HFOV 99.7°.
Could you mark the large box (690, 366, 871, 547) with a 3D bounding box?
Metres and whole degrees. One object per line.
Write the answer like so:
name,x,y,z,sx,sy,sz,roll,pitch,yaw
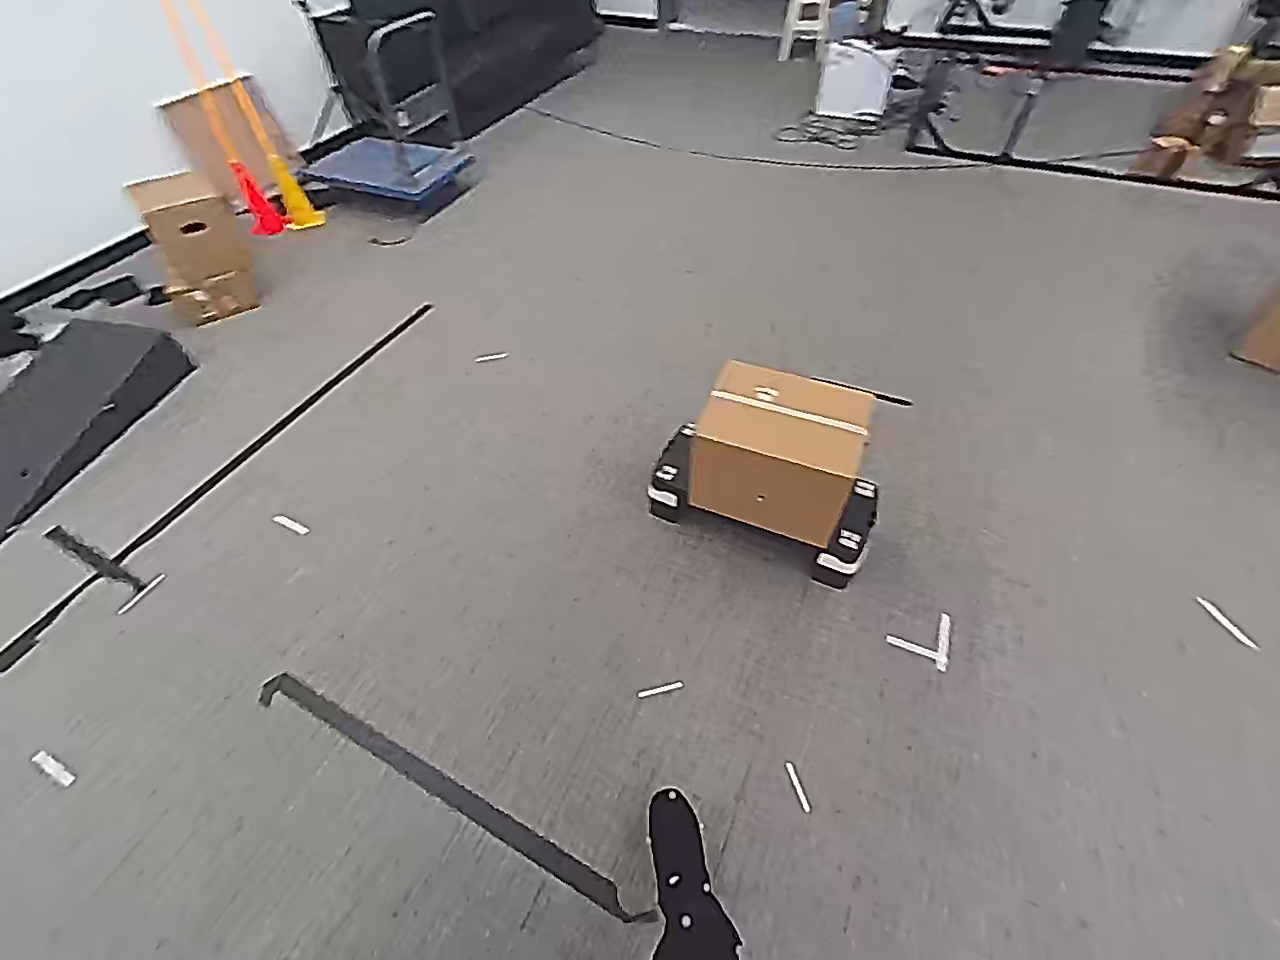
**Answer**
large box,0.378,-0.065,1.500,0.408,0.320,0.320,17,53,17
